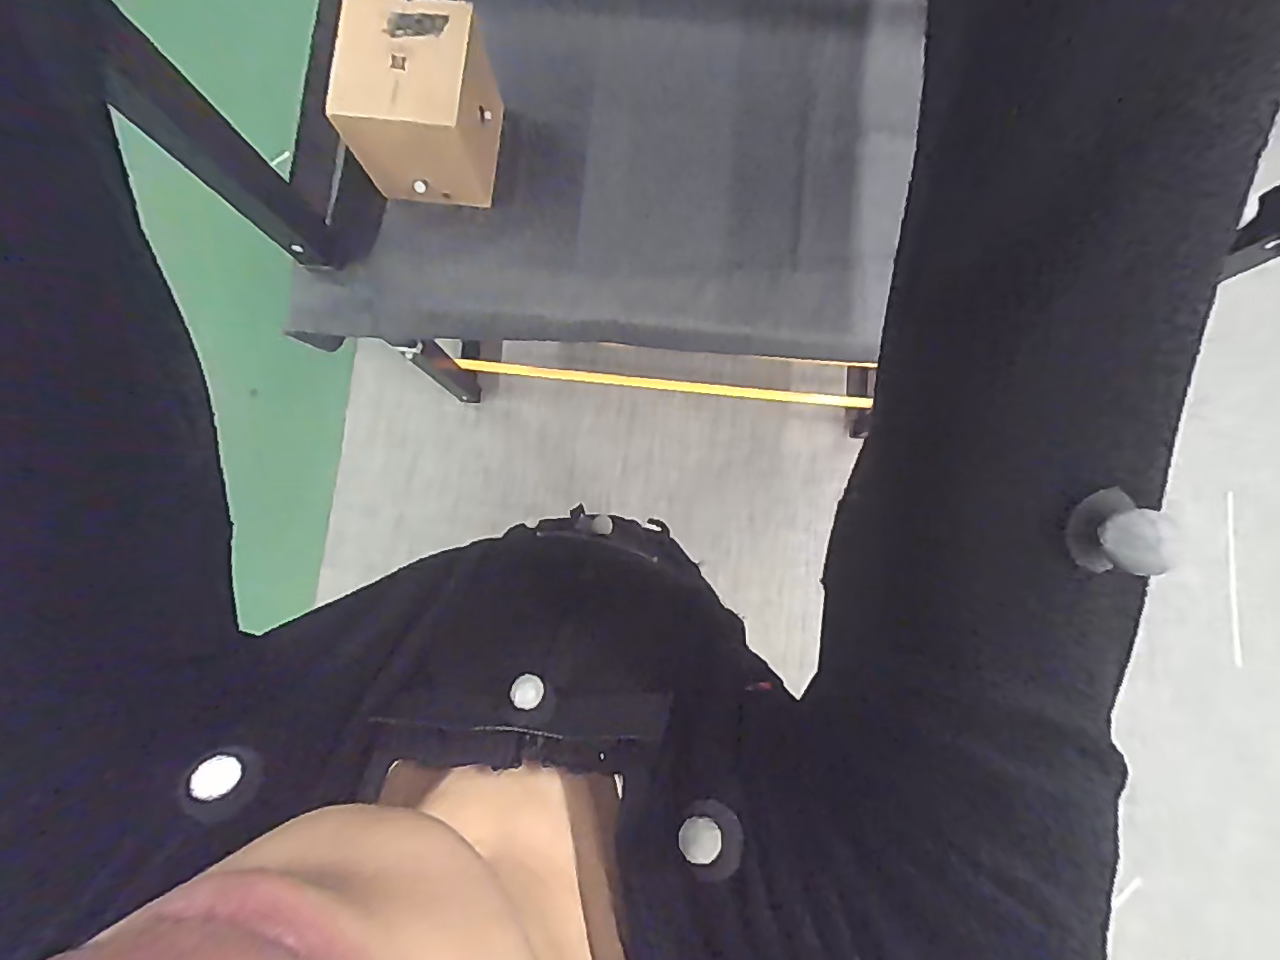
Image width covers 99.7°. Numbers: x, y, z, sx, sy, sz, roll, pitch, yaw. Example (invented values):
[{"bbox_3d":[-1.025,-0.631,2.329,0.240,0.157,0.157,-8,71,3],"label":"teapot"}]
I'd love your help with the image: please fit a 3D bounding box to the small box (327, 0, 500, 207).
[{"bbox_3d":[-0.302,-0.522,0.760,0.168,0.176,0.179,5,84,-1],"label":"small box"}]
